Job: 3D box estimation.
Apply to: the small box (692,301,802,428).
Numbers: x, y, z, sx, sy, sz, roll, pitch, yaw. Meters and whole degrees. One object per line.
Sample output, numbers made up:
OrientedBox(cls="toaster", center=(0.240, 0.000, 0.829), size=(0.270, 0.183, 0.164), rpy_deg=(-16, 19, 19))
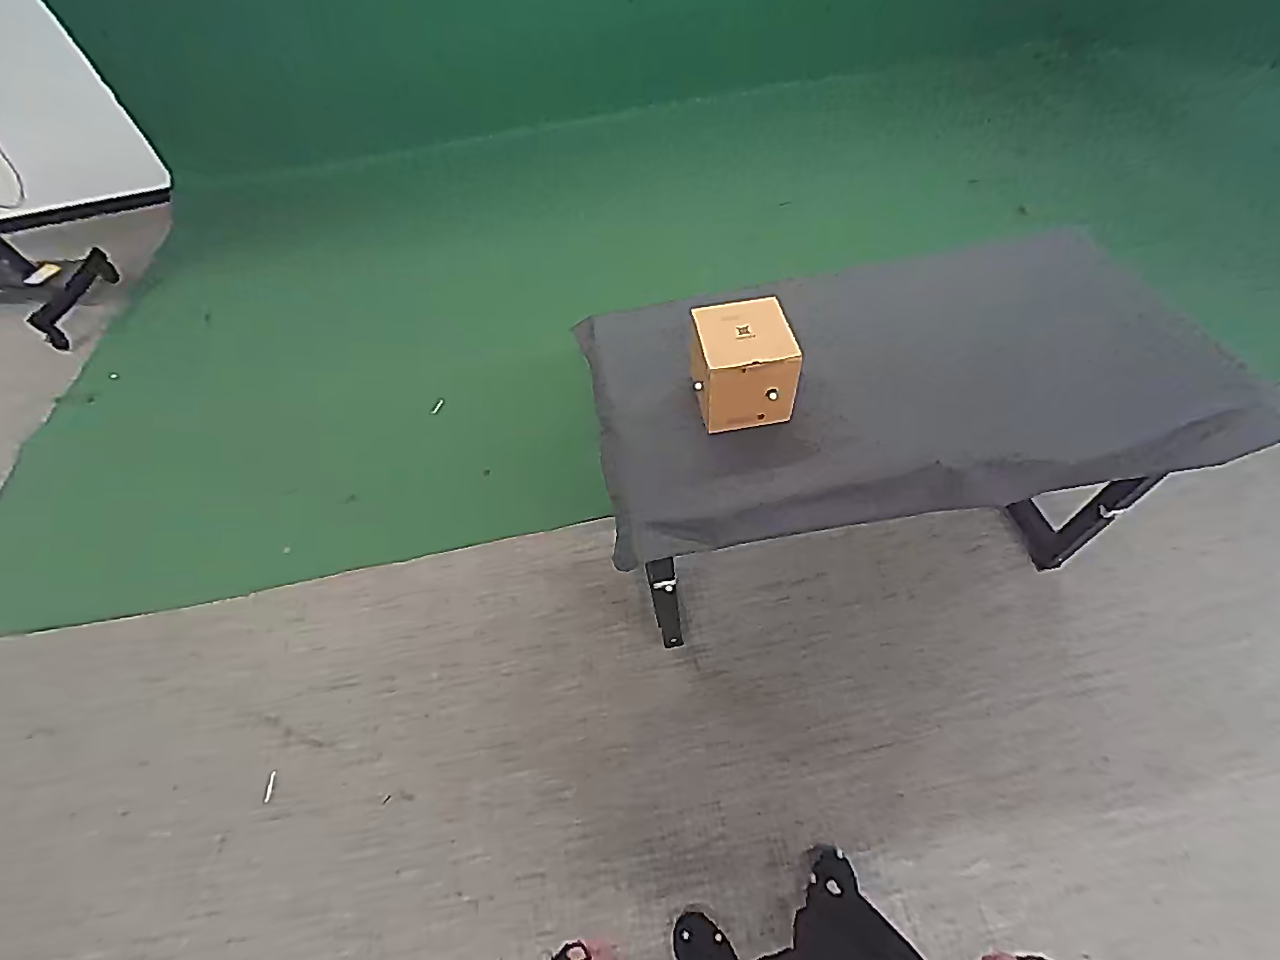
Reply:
OrientedBox(cls="small box", center=(0.198, -0.215, 1.046), size=(0.168, 0.176, 0.179), rpy_deg=(-9, 53, -2))
